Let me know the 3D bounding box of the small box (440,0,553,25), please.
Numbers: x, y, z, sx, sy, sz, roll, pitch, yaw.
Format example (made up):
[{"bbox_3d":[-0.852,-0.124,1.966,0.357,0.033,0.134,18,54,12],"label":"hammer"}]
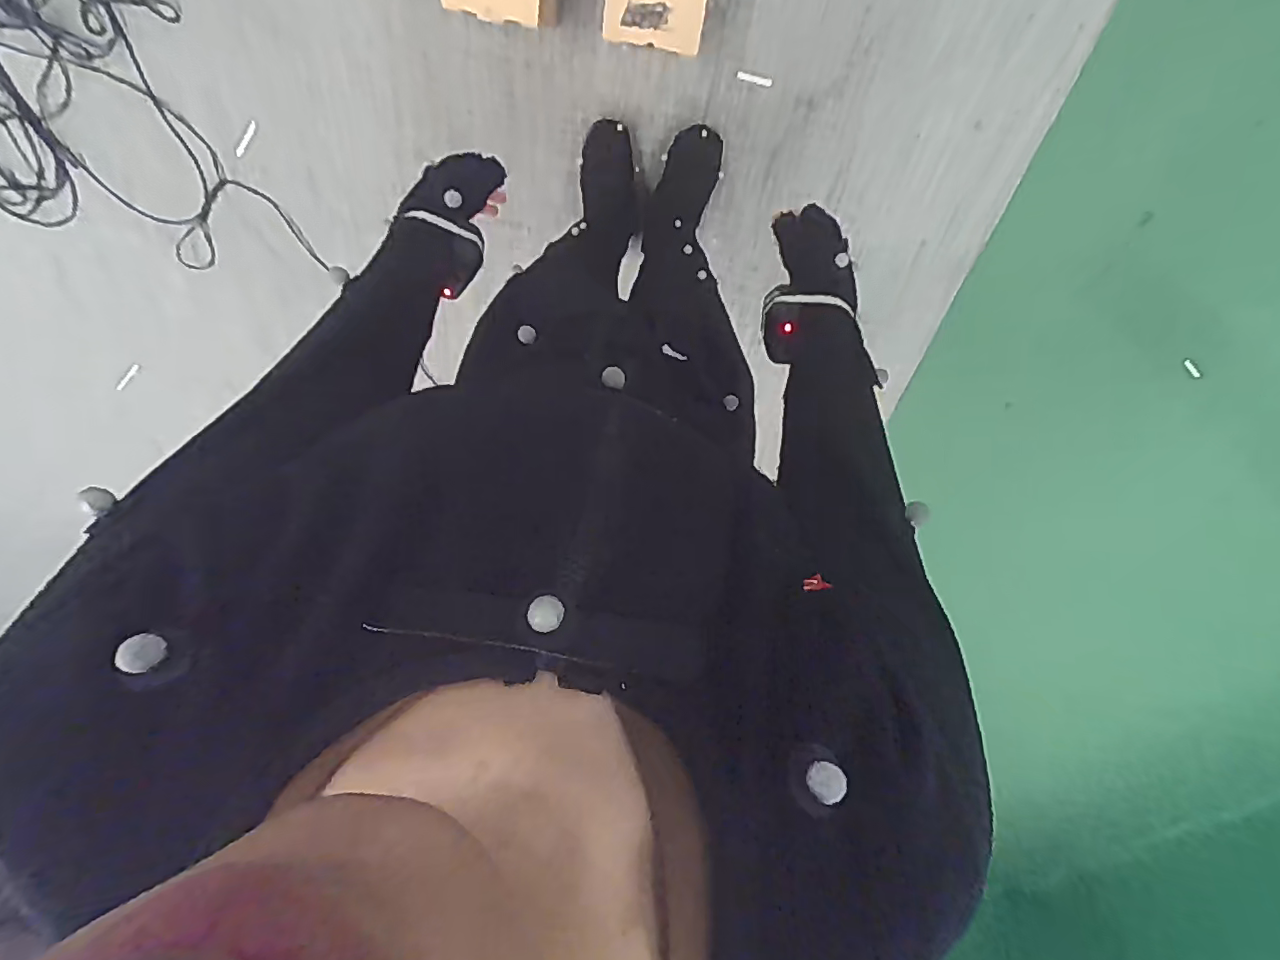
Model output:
[{"bbox_3d":[-0.237,-0.895,0.909,0.168,0.176,0.179,10,130,-4],"label":"small box"}]

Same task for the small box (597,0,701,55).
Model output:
[{"bbox_3d":[0.026,-0.854,0.923,0.168,0.176,0.179,9,129,-4],"label":"small box"}]
